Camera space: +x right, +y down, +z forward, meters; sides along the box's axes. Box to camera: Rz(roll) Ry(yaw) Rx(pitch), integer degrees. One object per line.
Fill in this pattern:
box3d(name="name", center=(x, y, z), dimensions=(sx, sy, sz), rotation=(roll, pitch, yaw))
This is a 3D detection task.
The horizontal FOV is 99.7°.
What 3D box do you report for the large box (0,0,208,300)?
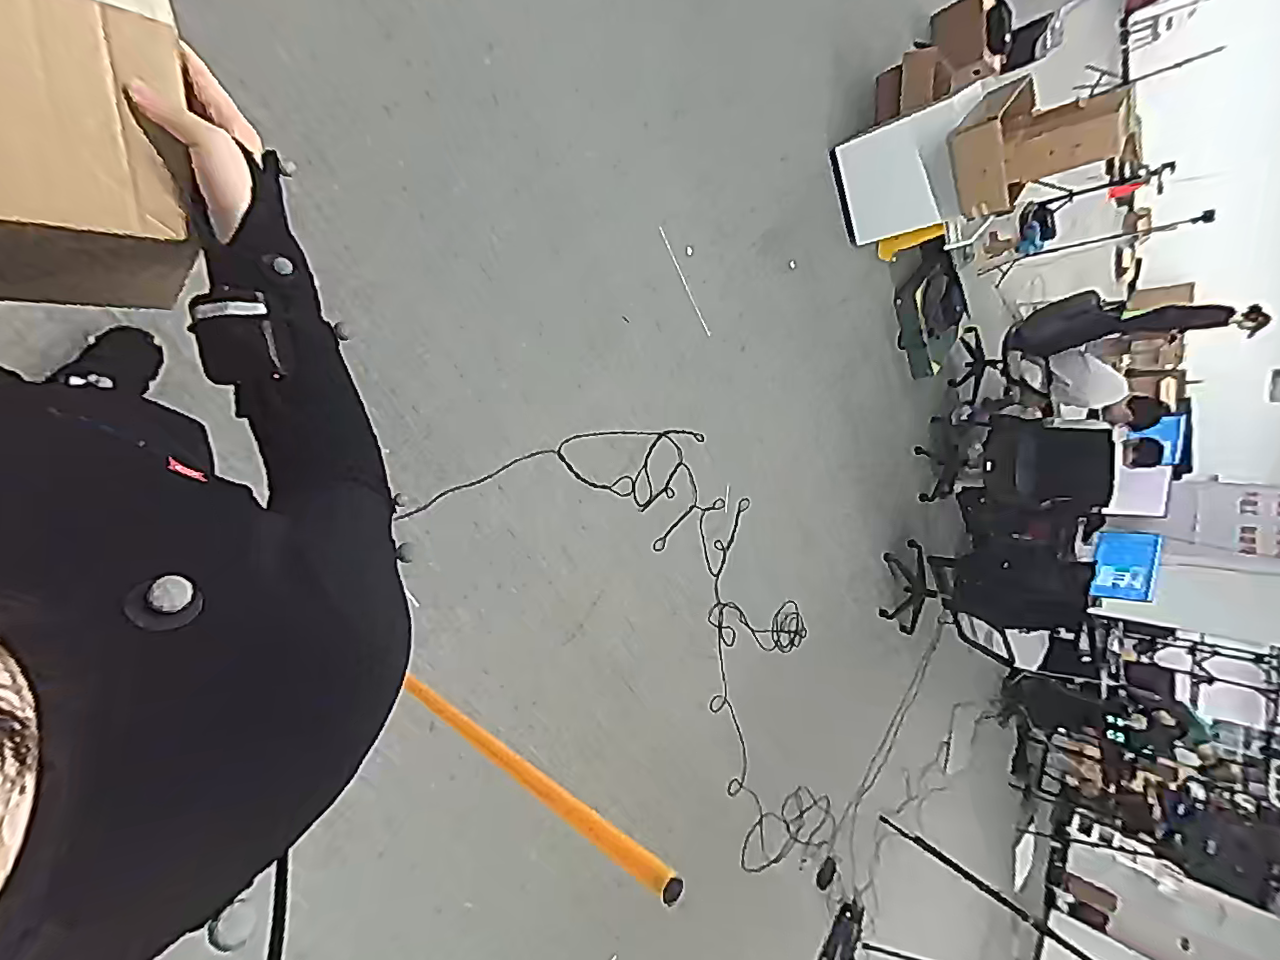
box3d(name="large box", center=(-0.584, -0.316, 0.355), dimensions=(0.408, 0.320, 0.320), rotation=(-11, 102, -45))
